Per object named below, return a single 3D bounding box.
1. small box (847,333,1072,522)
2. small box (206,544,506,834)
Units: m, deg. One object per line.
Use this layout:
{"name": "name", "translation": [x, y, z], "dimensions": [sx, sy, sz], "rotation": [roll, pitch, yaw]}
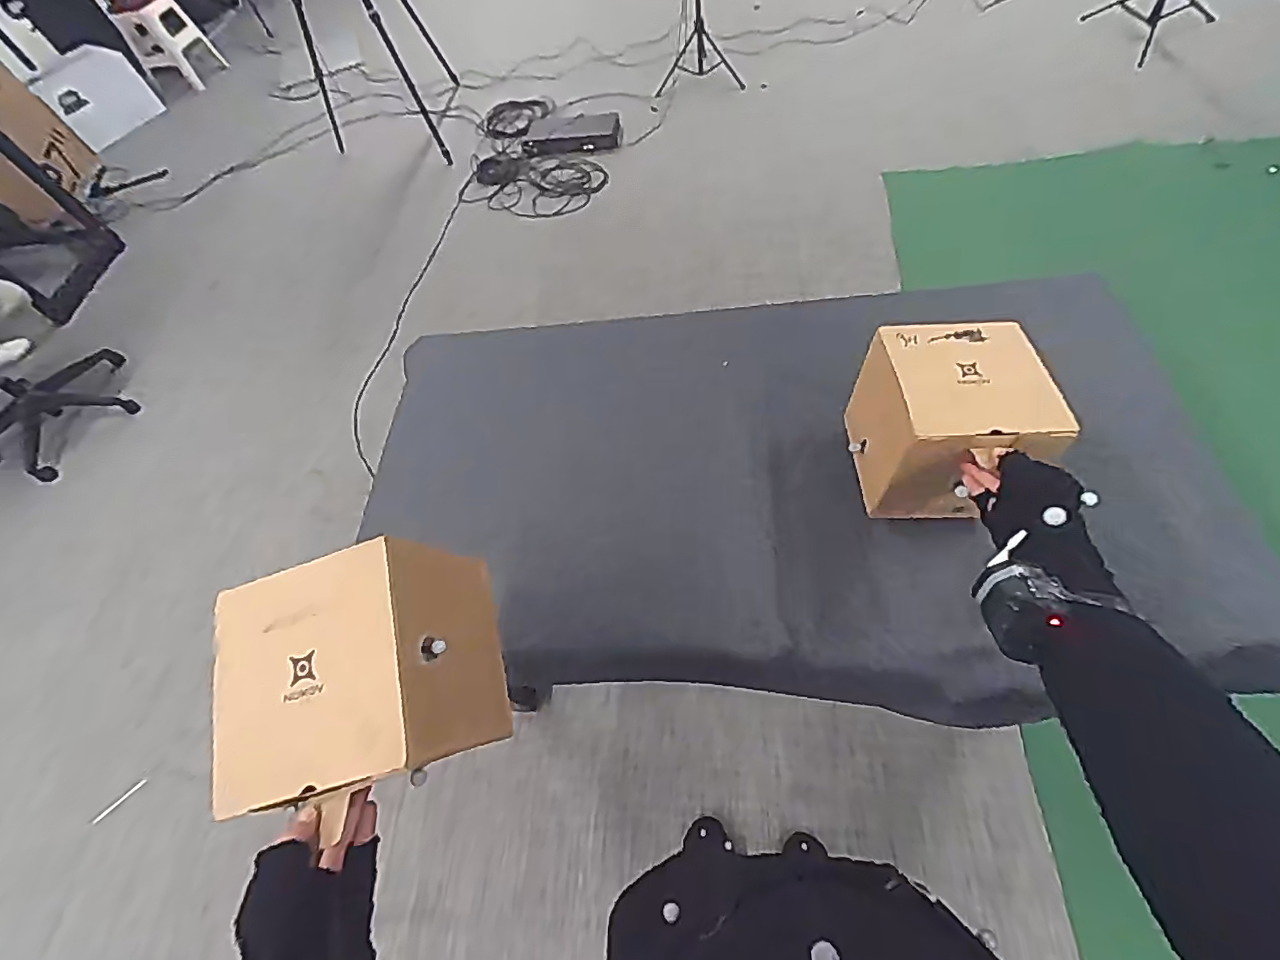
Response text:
{"name": "small box", "translation": [0.372, -0.058, 0.672], "dimensions": [0.168, 0.176, 0.179], "rotation": [0, 55, 4]}
{"name": "small box", "translation": [-0.238, 0.177, 0.483], "dimensions": [0.168, 0.176, 0.179], "rotation": [-19, 68, 7]}
